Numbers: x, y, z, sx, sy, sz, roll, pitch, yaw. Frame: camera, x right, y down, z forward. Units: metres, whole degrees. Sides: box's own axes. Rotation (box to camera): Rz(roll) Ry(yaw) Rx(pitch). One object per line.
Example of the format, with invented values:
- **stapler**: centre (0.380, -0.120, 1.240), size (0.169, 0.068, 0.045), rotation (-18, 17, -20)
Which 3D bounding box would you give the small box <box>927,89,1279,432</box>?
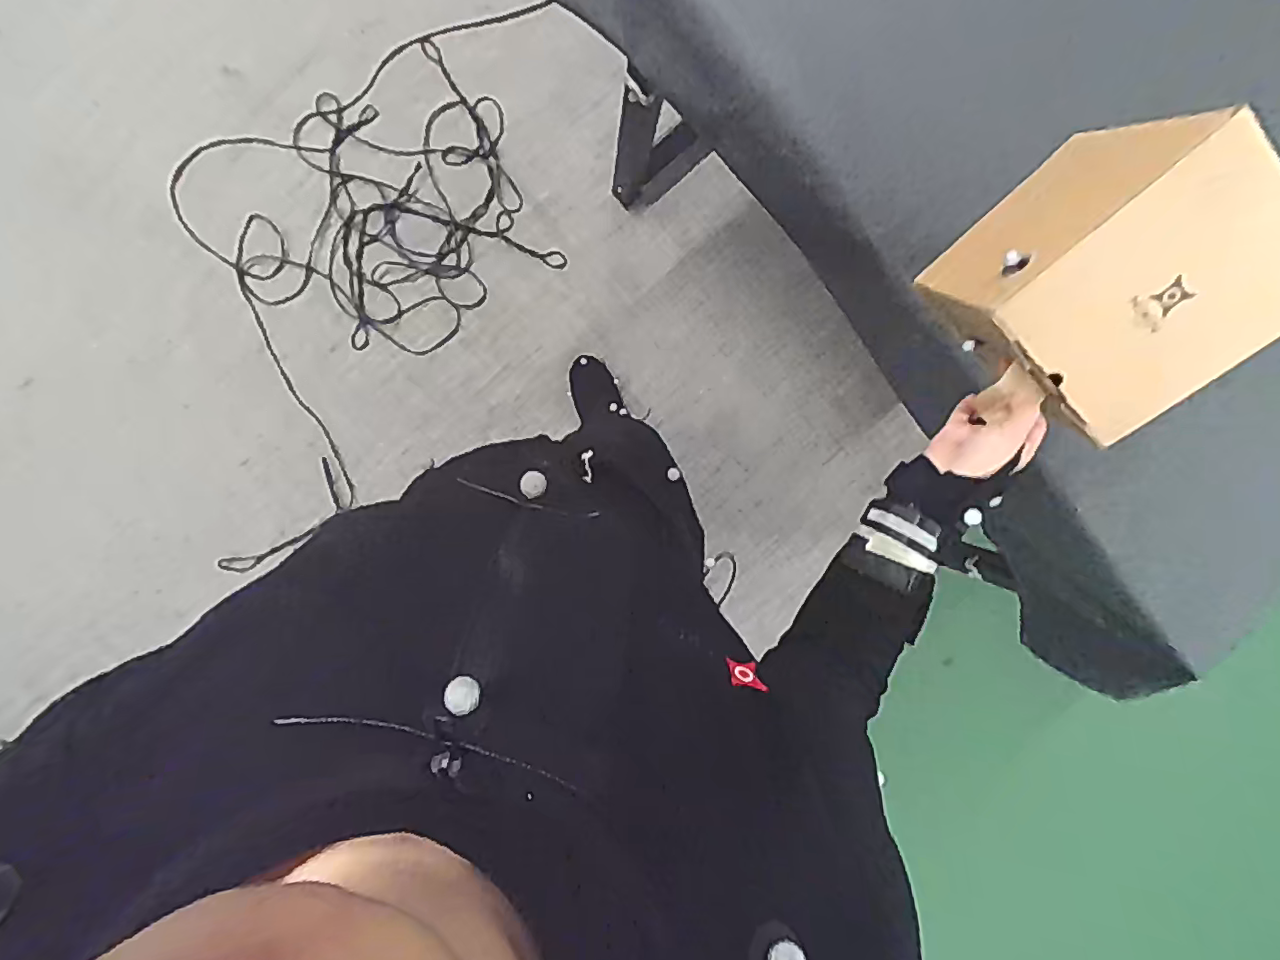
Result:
- **small box**: centre (0.390, -0.180, 0.459), size (0.168, 0.176, 0.179), rotation (39, 115, -15)
